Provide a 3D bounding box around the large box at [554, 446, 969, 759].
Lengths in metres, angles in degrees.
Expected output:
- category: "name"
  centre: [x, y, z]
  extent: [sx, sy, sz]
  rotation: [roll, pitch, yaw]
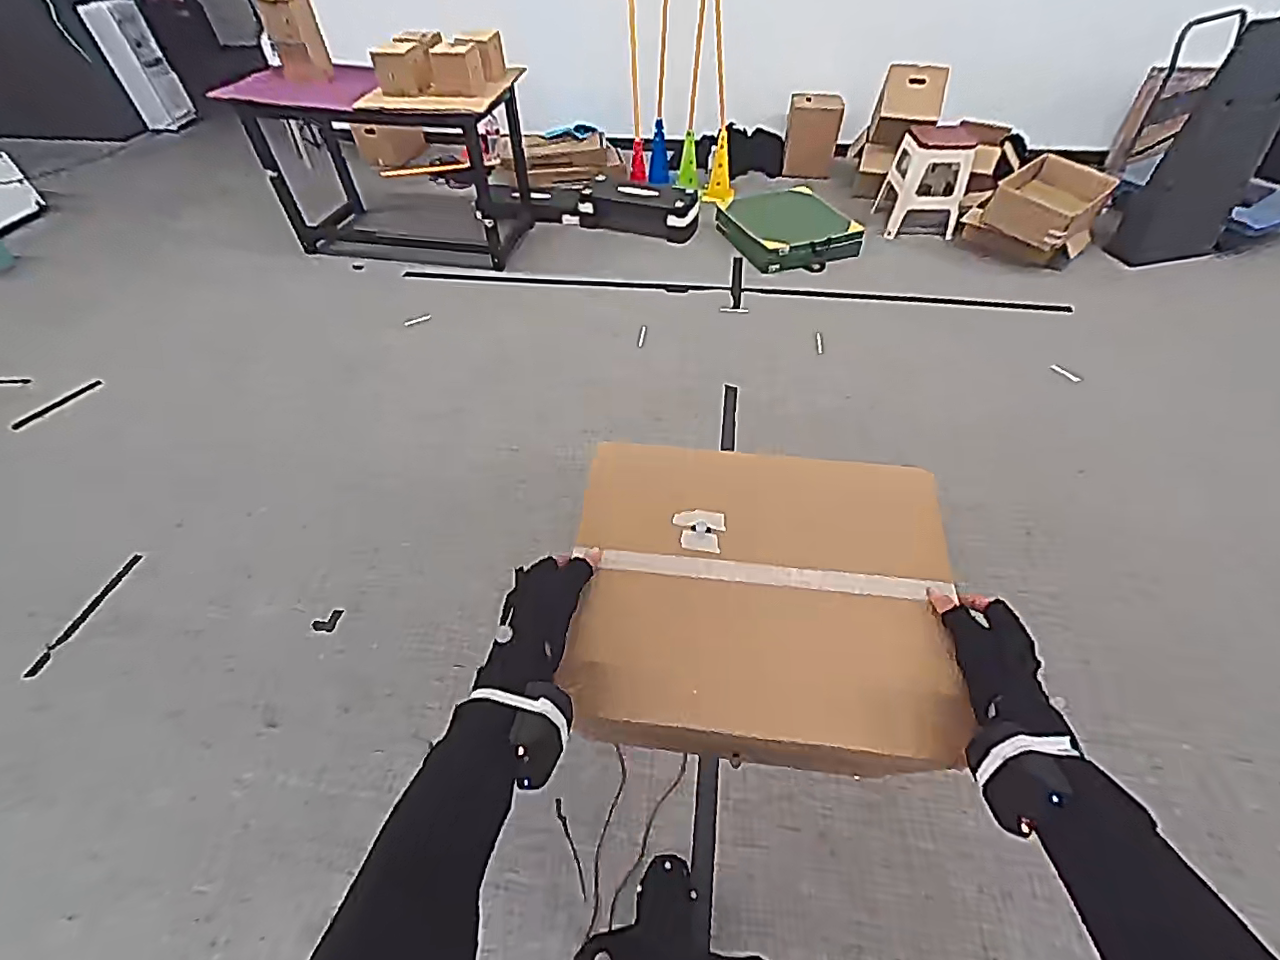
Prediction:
- category: "large box"
  centre: [0.134, 0.176, 0.719]
  extent: [0.408, 0.320, 0.320]
  rotation: [5, 59, 5]
